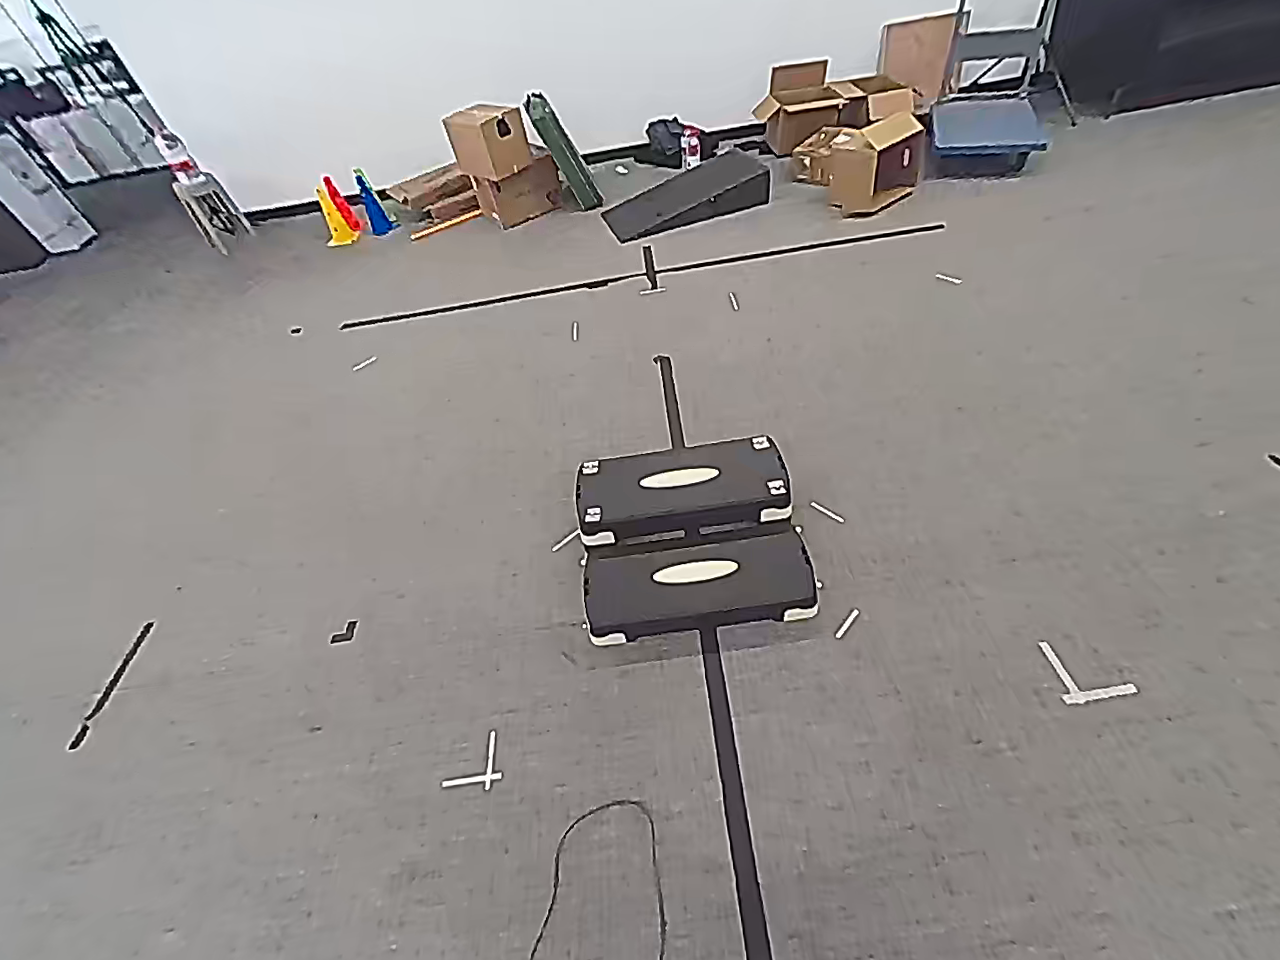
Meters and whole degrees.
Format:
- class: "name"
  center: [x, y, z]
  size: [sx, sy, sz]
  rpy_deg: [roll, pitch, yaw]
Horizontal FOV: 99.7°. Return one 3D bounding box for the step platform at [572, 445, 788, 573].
- class: "step platform"
  center: [0.122, 0.088, 1.749]
  size: [0.684, 0.204, 0.286]
  rpy_deg: [-9, 48, 1]
